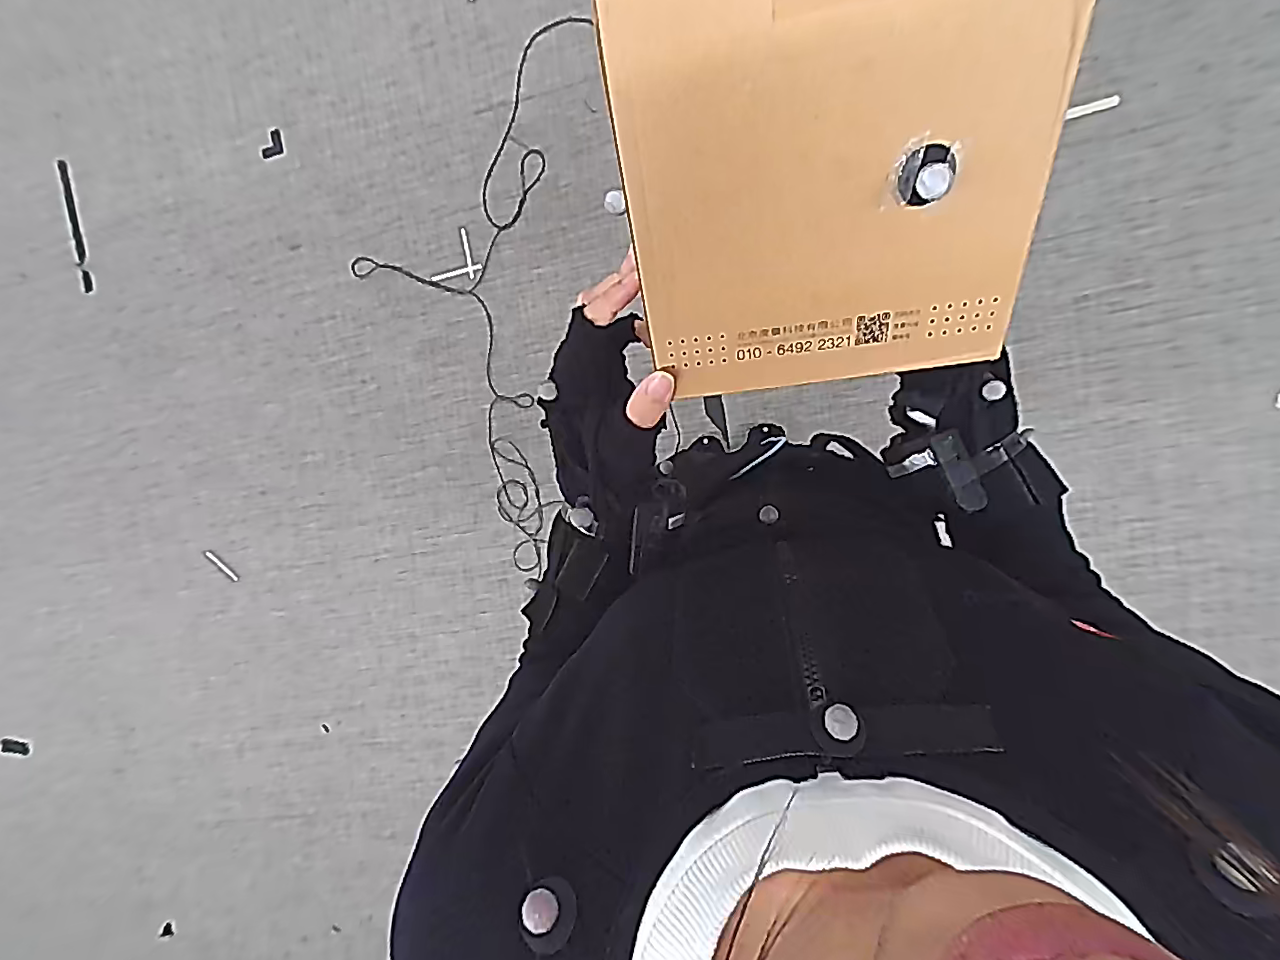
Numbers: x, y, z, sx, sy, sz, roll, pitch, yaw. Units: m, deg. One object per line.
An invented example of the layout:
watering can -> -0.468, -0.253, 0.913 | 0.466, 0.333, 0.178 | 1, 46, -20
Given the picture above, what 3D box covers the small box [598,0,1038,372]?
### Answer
small box -> 0.084, -0.171, 0.302 | 0.168, 0.179, 0.176 | -5, 129, 9
